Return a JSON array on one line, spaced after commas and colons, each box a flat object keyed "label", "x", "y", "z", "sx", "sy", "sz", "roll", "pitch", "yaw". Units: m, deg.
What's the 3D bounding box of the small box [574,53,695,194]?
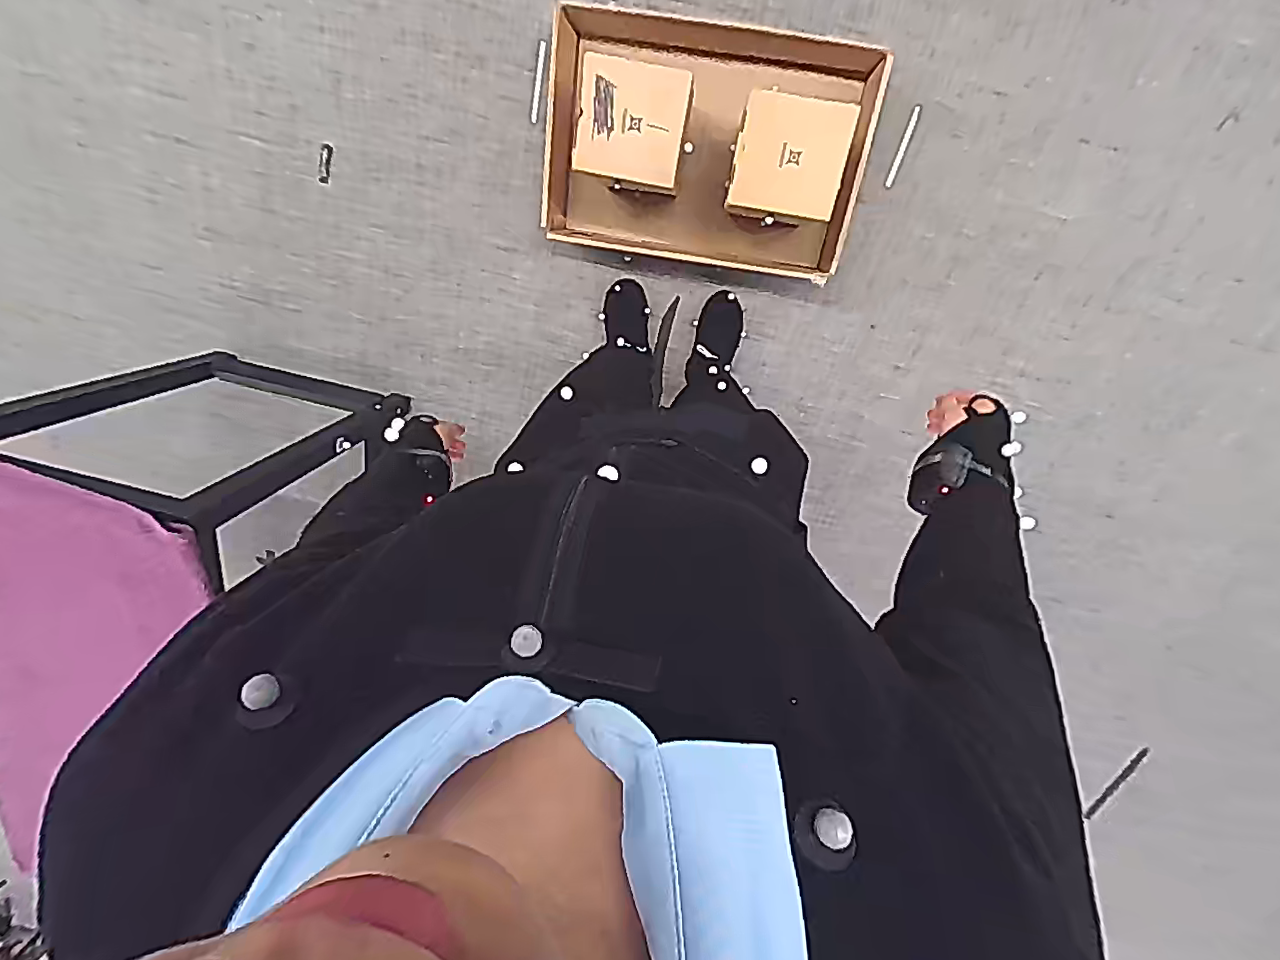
[{"label": "small box", "x": -0.006, "y": -0.610, "z": 0.949, "sx": 0.179, "sy": 0.176, "sz": 0.168, "roll": 11, "pitch": 115, "yaw": 0}]

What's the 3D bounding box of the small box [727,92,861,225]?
[{"label": "small box", "x": 0.256, "y": -0.550, "z": 0.945, "sx": 0.179, "sy": 0.176, "sz": 0.168, "roll": 12, "pitch": 115, "yaw": 3}]
